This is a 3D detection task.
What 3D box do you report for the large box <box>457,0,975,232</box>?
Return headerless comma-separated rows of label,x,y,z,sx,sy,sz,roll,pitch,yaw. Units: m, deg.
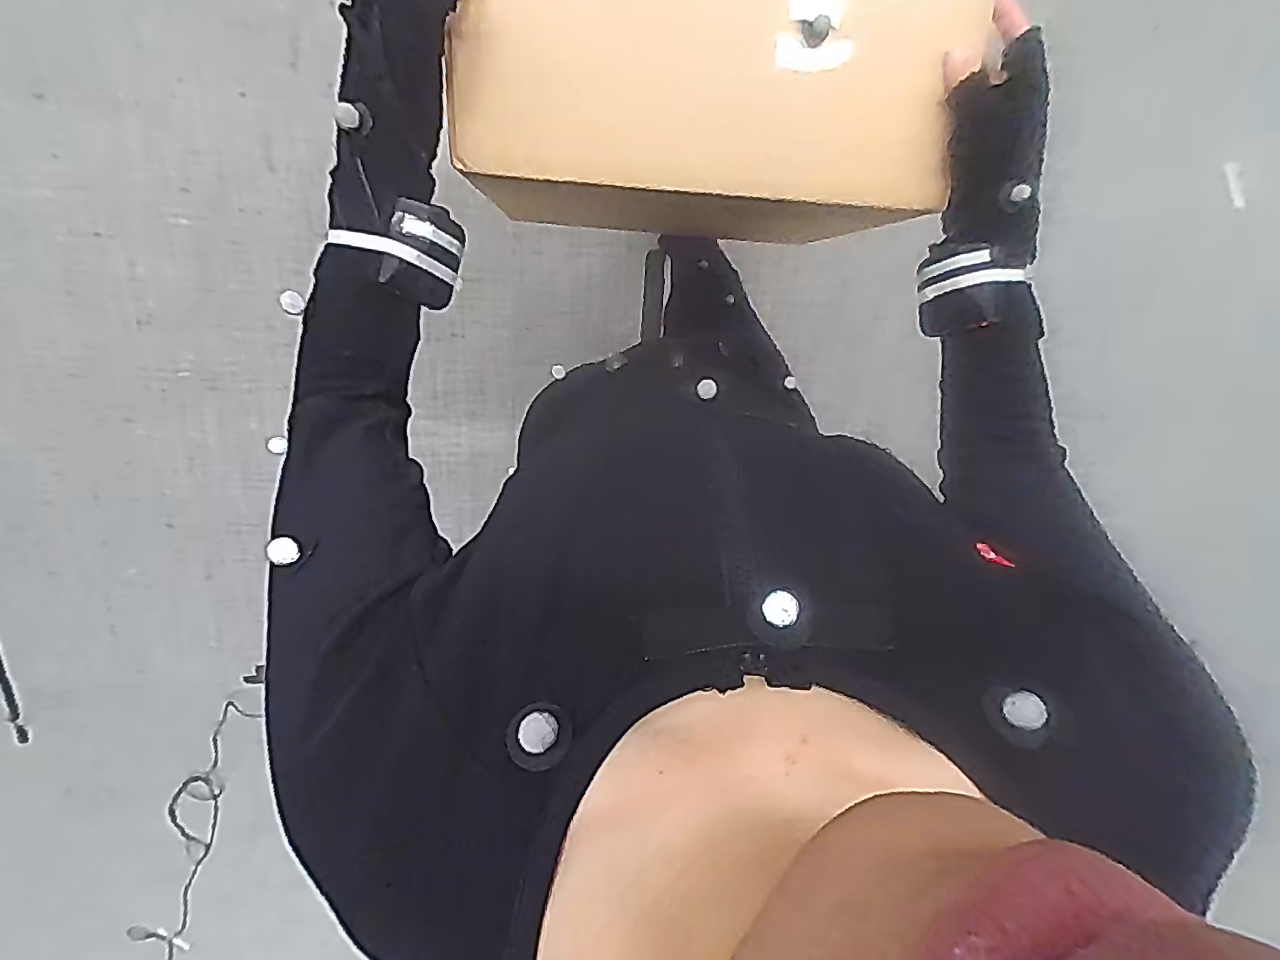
large box,0.049,-0.438,0.537,0.408,0.320,0.320,1,109,-7
